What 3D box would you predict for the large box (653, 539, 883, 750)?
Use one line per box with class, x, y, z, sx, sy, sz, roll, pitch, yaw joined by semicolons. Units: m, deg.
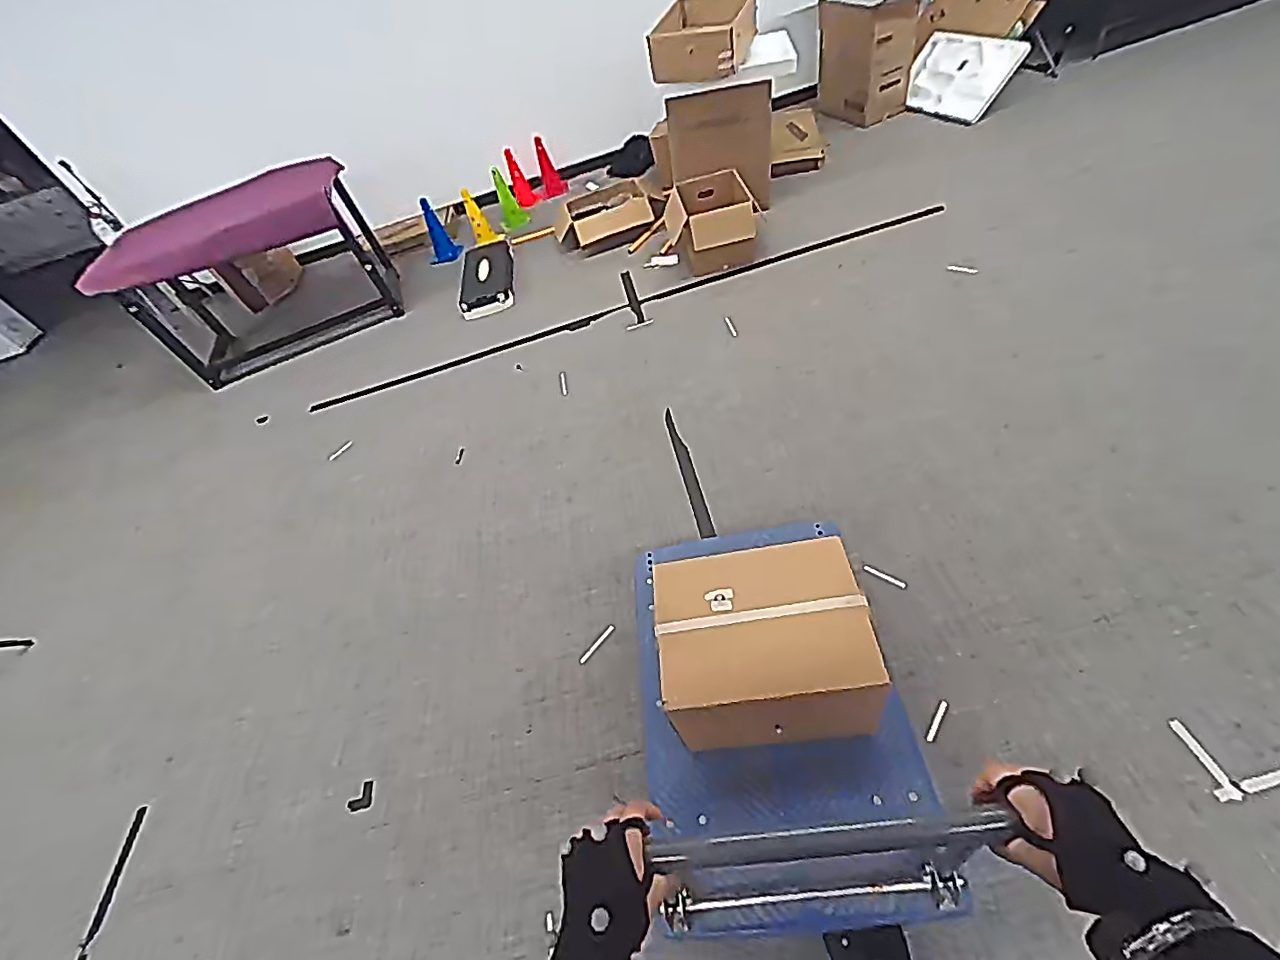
large box;0.265;0.372;1.187;0.408;0.320;0.320;-11;48;8
